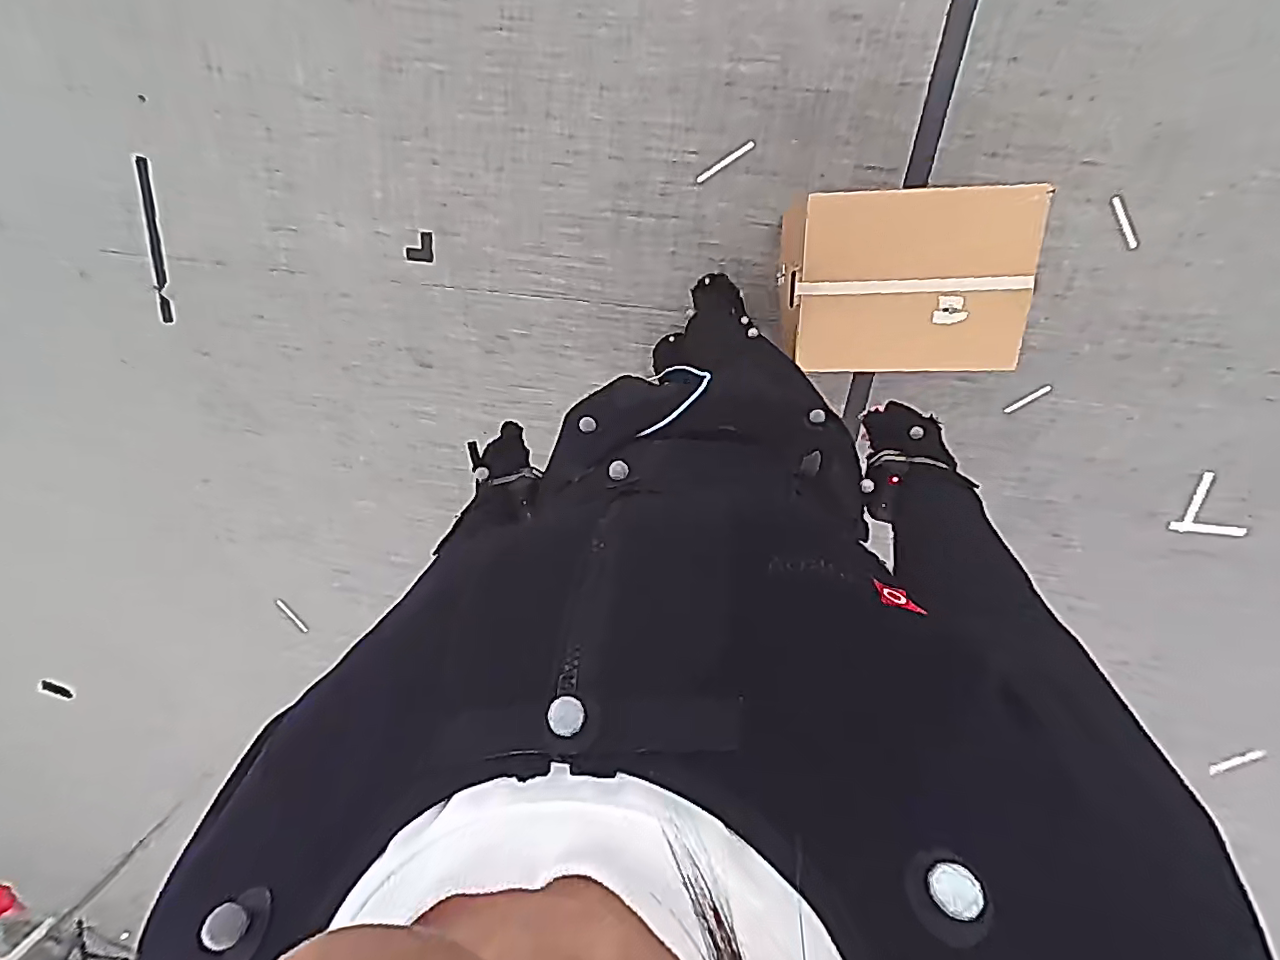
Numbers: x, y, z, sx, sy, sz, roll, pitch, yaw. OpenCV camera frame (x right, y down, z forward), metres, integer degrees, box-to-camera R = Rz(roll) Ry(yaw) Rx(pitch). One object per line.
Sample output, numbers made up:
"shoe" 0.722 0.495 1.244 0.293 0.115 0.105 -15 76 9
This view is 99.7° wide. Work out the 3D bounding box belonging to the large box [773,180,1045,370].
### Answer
"large box" 0.500 -0.409 1.113 0.408 0.320 0.320 1 111 6
